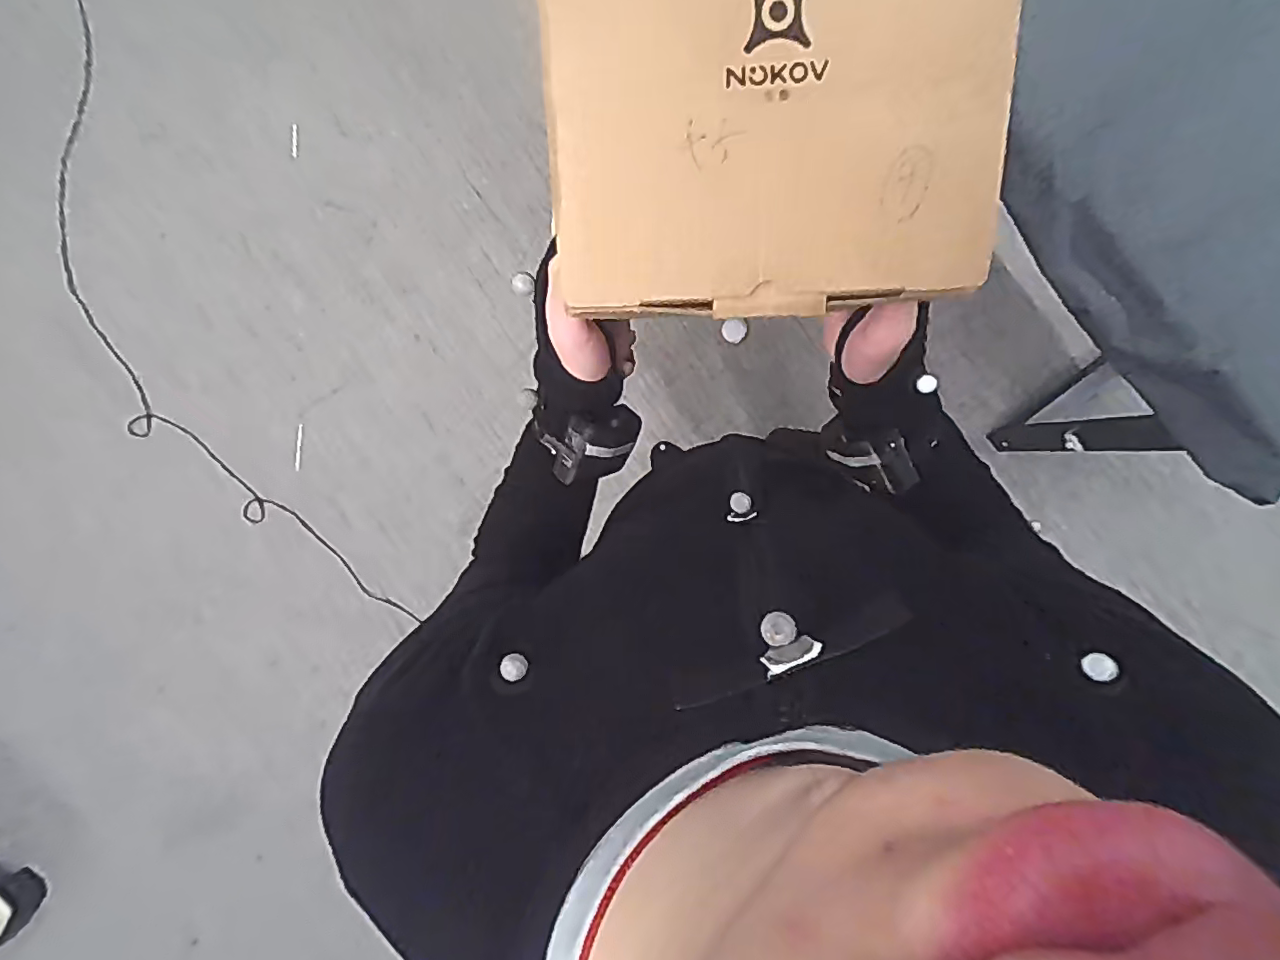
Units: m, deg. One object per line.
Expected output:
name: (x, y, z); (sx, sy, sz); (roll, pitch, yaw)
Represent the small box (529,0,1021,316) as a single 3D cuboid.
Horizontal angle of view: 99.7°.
small box: (0.045, -0.175, 0.259); (0.168, 0.176, 0.179); (-3, 107, 0)
